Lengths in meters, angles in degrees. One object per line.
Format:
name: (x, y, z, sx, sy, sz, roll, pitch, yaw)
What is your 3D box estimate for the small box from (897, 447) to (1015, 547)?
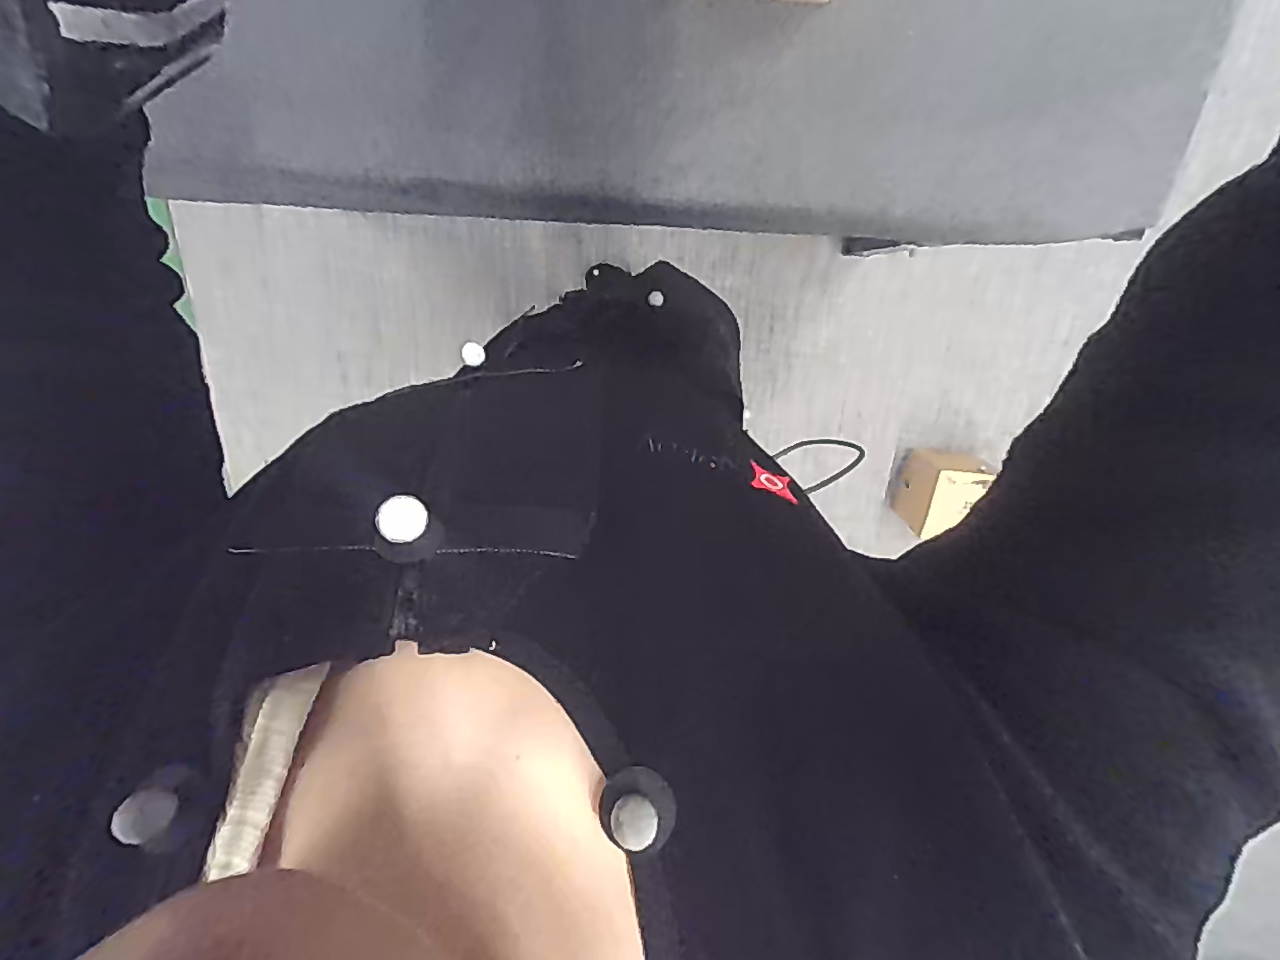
small box: (0.740, 0.037, 1.293, 0.168, 0.176, 0.179, 7, 111, 1)
